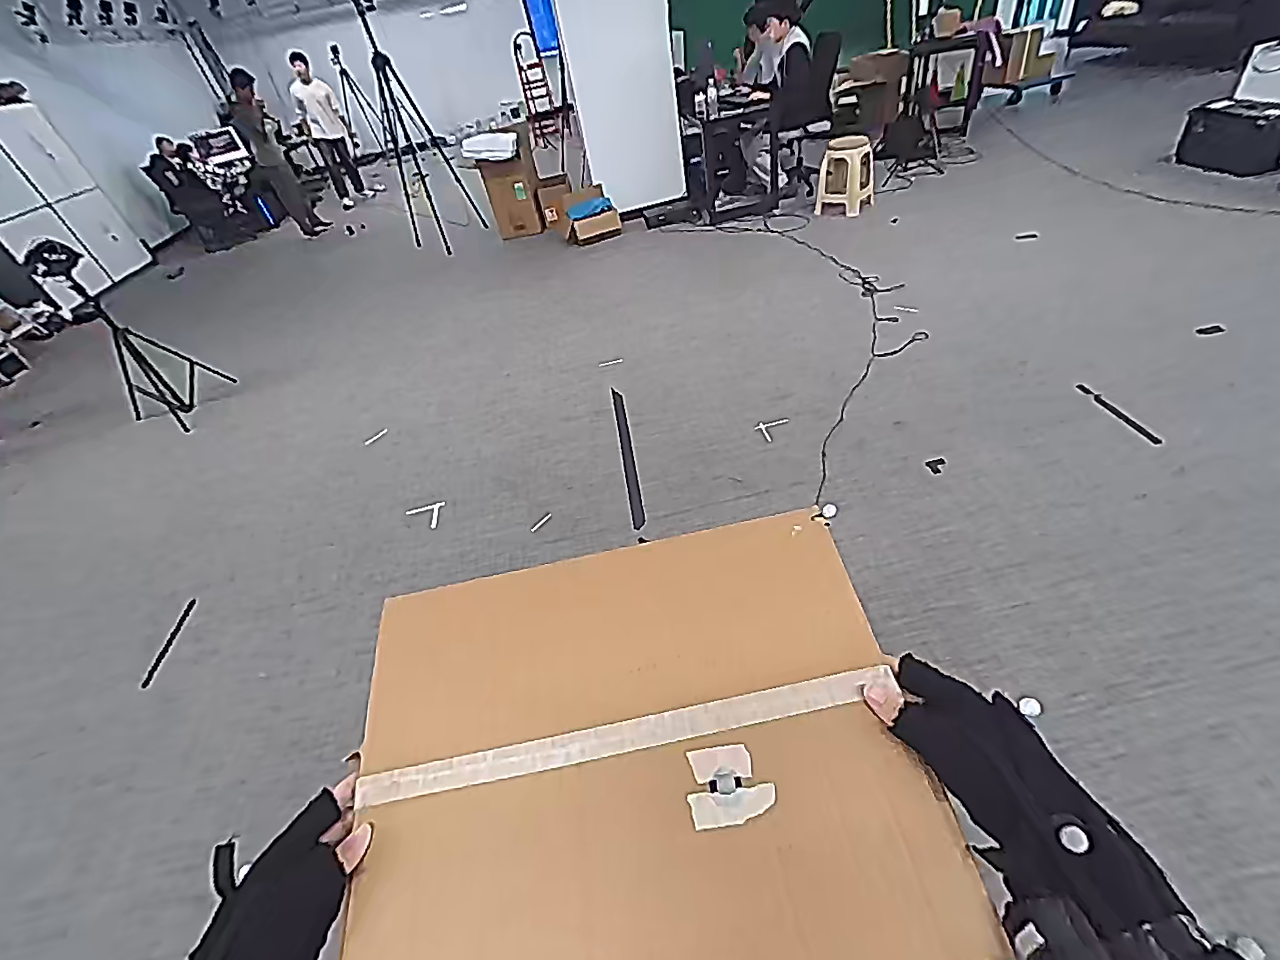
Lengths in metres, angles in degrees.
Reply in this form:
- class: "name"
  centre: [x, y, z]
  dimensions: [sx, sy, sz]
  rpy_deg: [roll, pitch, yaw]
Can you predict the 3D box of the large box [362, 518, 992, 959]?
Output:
- class: "large box"
  centre: [0.013, 0.285, 0.530]
  dimensions: [0.408, 0.320, 0.320]
  rpy_deg: [-12, 54, 0]
